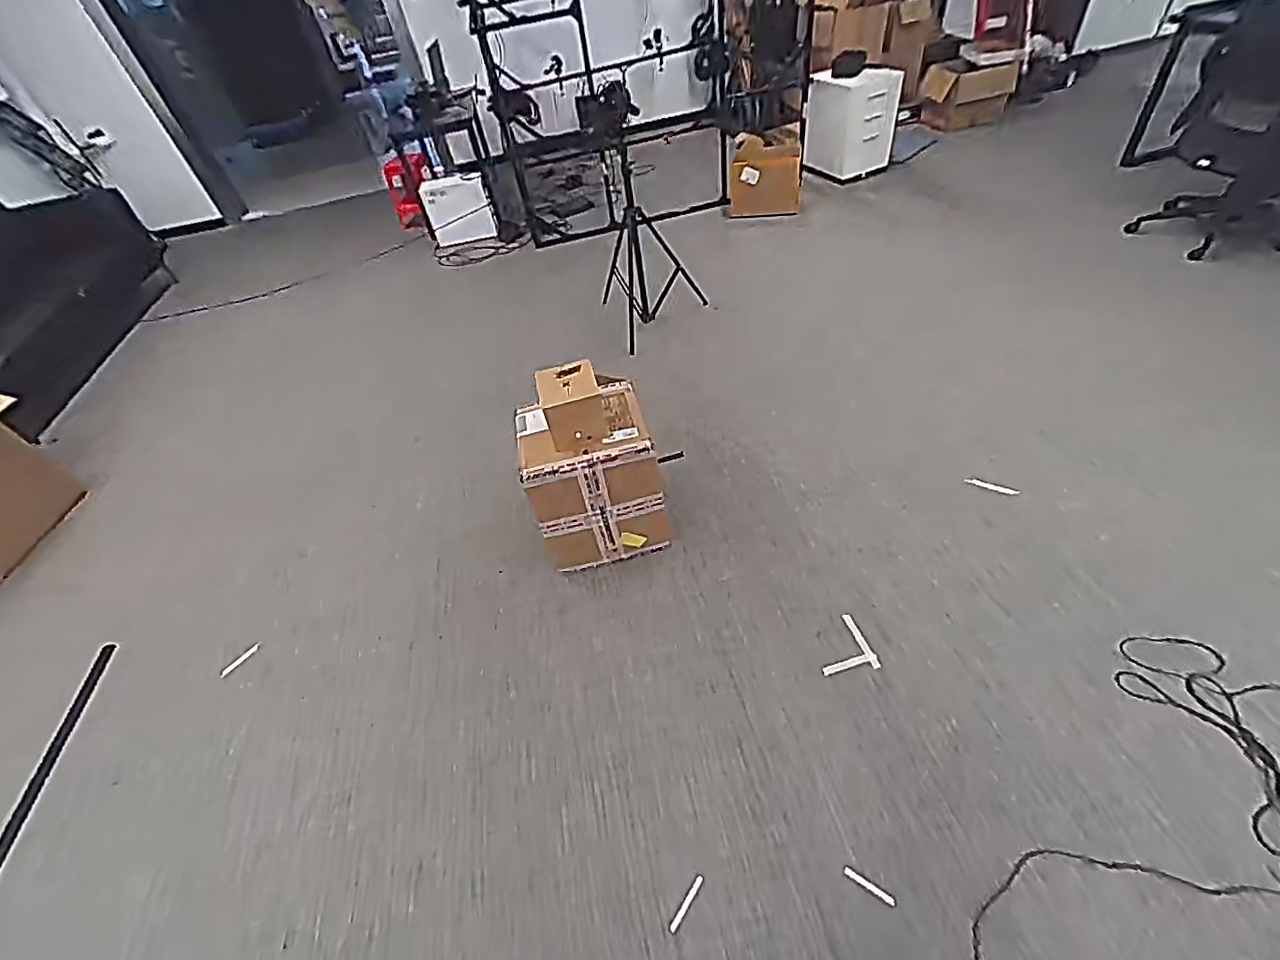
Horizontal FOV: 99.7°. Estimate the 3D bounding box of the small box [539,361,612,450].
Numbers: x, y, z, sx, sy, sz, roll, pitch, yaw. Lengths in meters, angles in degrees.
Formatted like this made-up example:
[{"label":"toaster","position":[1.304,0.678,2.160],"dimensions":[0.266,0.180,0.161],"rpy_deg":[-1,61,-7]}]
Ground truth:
[{"label":"small box","position":[-0.187,-0.215,1.574],"dimensions":[0.168,0.176,0.179],"rpy_deg":[-15,49,-3]}]
